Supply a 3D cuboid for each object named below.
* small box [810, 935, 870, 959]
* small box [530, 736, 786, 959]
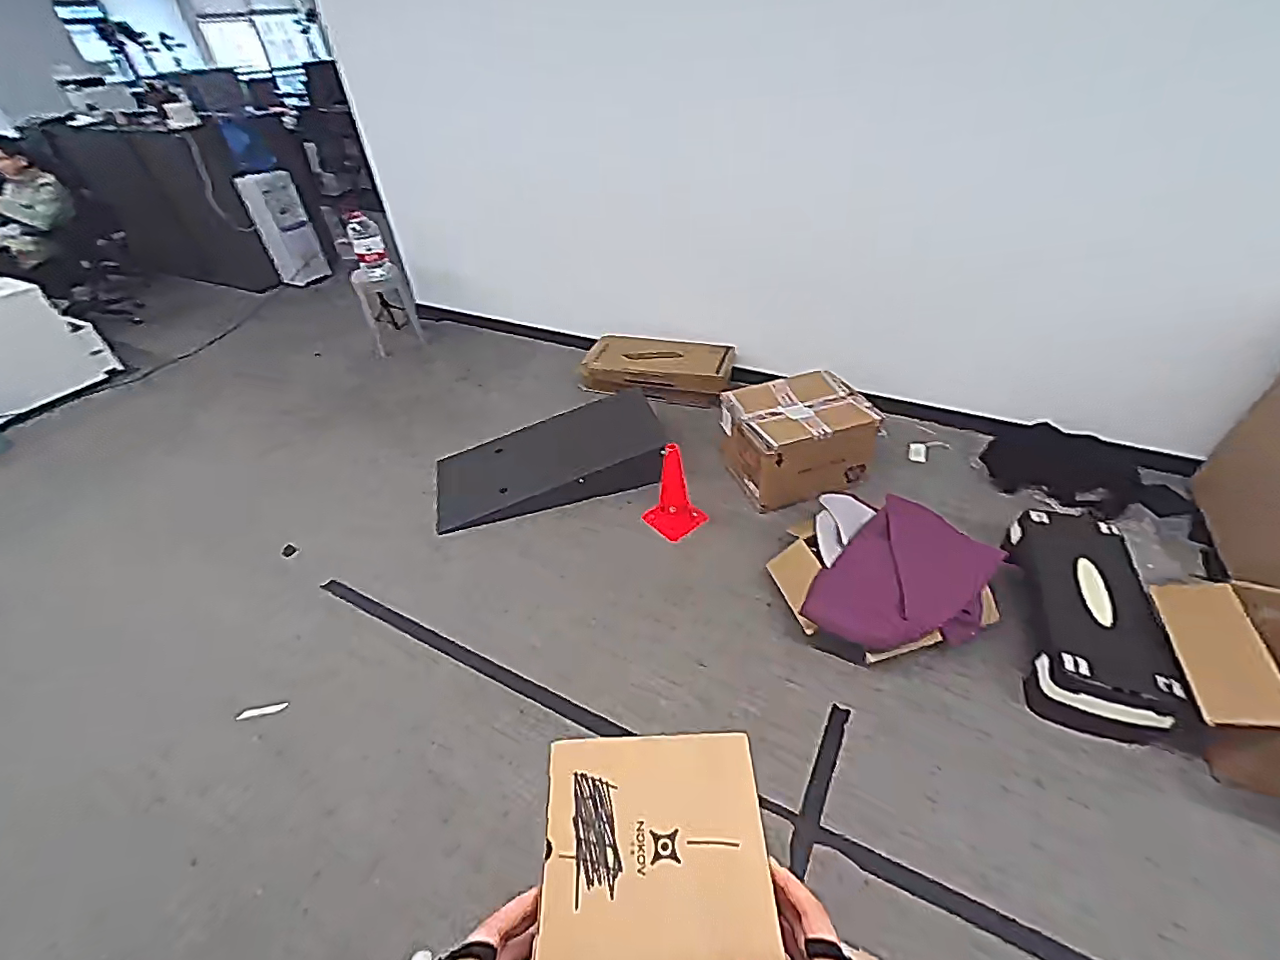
[{"bbox_3d":[0.345,0.893,0.870,0.168,0.176,0.179,18,46,24],"label":"small box"},{"bbox_3d":[0.013,0.340,0.466,0.179,0.176,0.168,-2,44,-1],"label":"small box"}]
